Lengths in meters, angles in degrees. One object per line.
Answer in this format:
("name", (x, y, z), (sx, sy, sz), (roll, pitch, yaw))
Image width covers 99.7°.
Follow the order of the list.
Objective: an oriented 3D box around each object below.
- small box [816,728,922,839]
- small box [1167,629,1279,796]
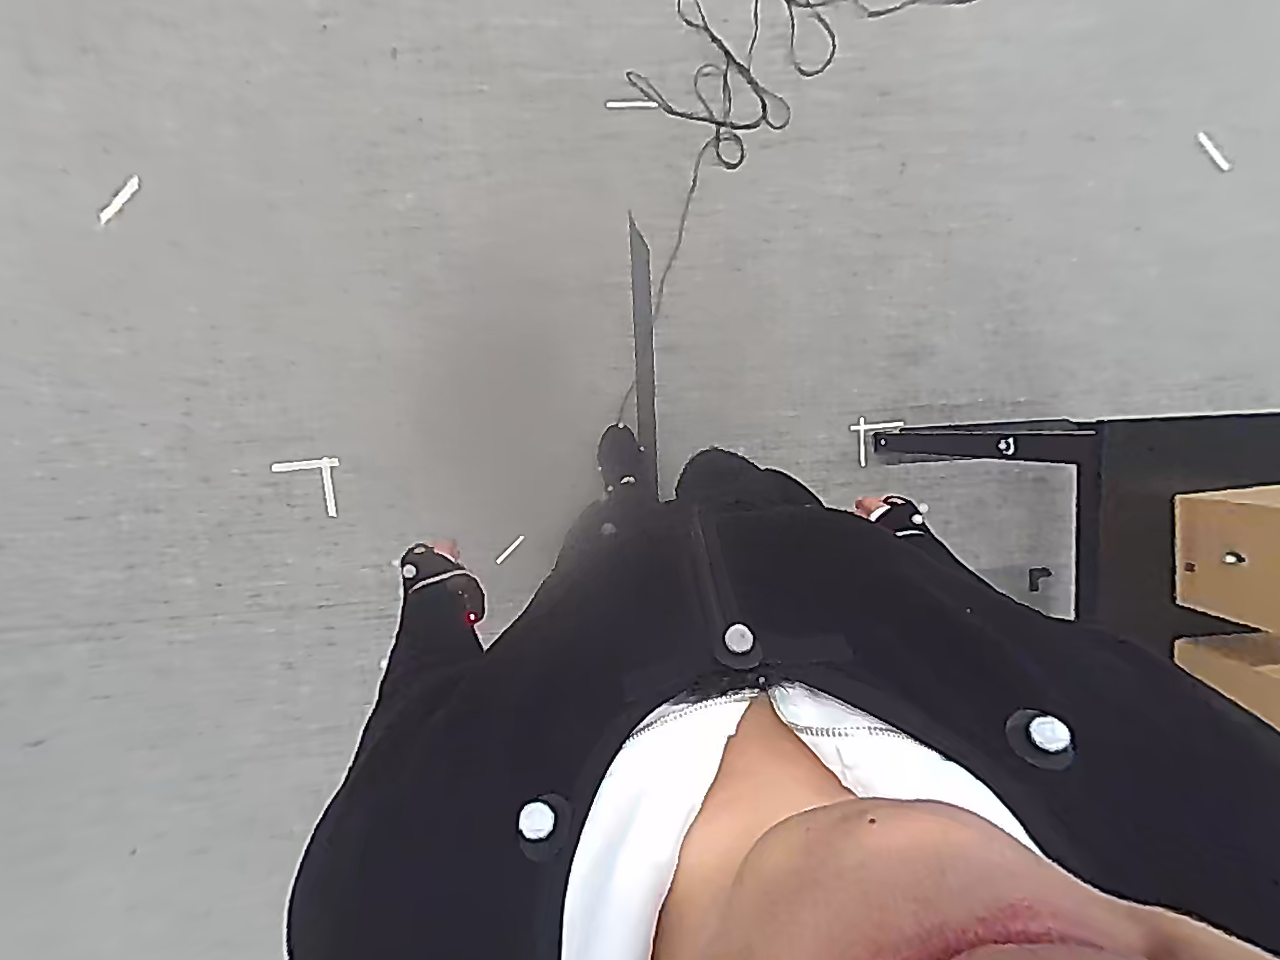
("small box", (0.630, 0.836, 1.510), (0.179, 0.176, 0.168), (40, 91, -5))
("small box", (0.899, 0.316, 0.749), (0.179, 0.176, 0.168), (-3, 95, -2))
